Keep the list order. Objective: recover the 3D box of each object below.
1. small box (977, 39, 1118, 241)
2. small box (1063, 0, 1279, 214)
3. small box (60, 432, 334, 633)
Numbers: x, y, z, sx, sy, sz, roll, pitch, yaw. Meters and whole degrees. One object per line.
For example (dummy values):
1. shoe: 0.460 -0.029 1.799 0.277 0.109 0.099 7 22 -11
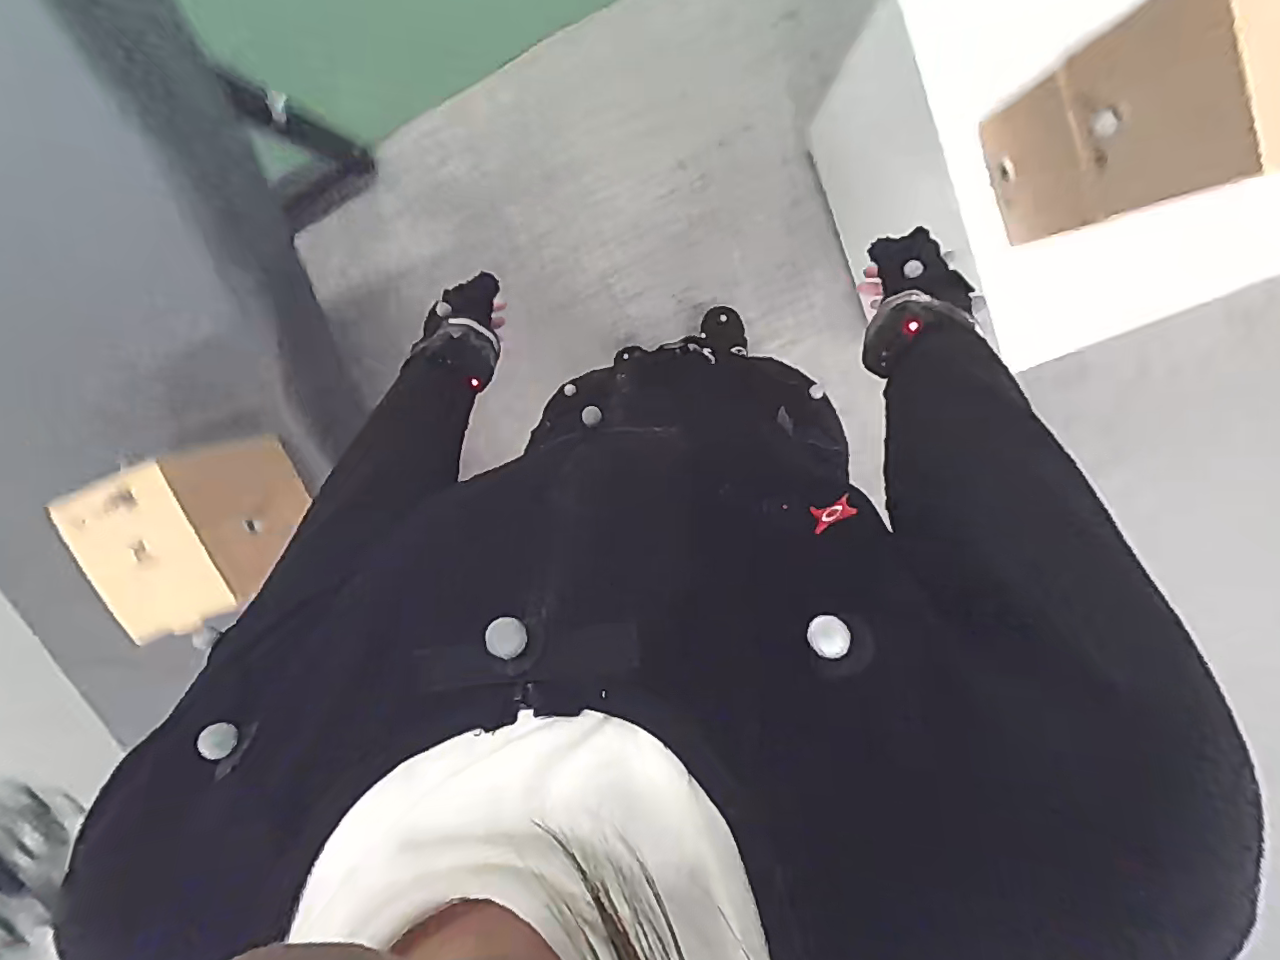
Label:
1. small box: 0.508 -0.382 0.579 0.179 0.176 0.168 -24 101 14
2. small box: 0.492 -0.340 0.421 0.179 0.176 0.168 -26 101 11
3. small box: -0.537 0.058 0.685 0.168 0.176 0.179 -20 103 13
